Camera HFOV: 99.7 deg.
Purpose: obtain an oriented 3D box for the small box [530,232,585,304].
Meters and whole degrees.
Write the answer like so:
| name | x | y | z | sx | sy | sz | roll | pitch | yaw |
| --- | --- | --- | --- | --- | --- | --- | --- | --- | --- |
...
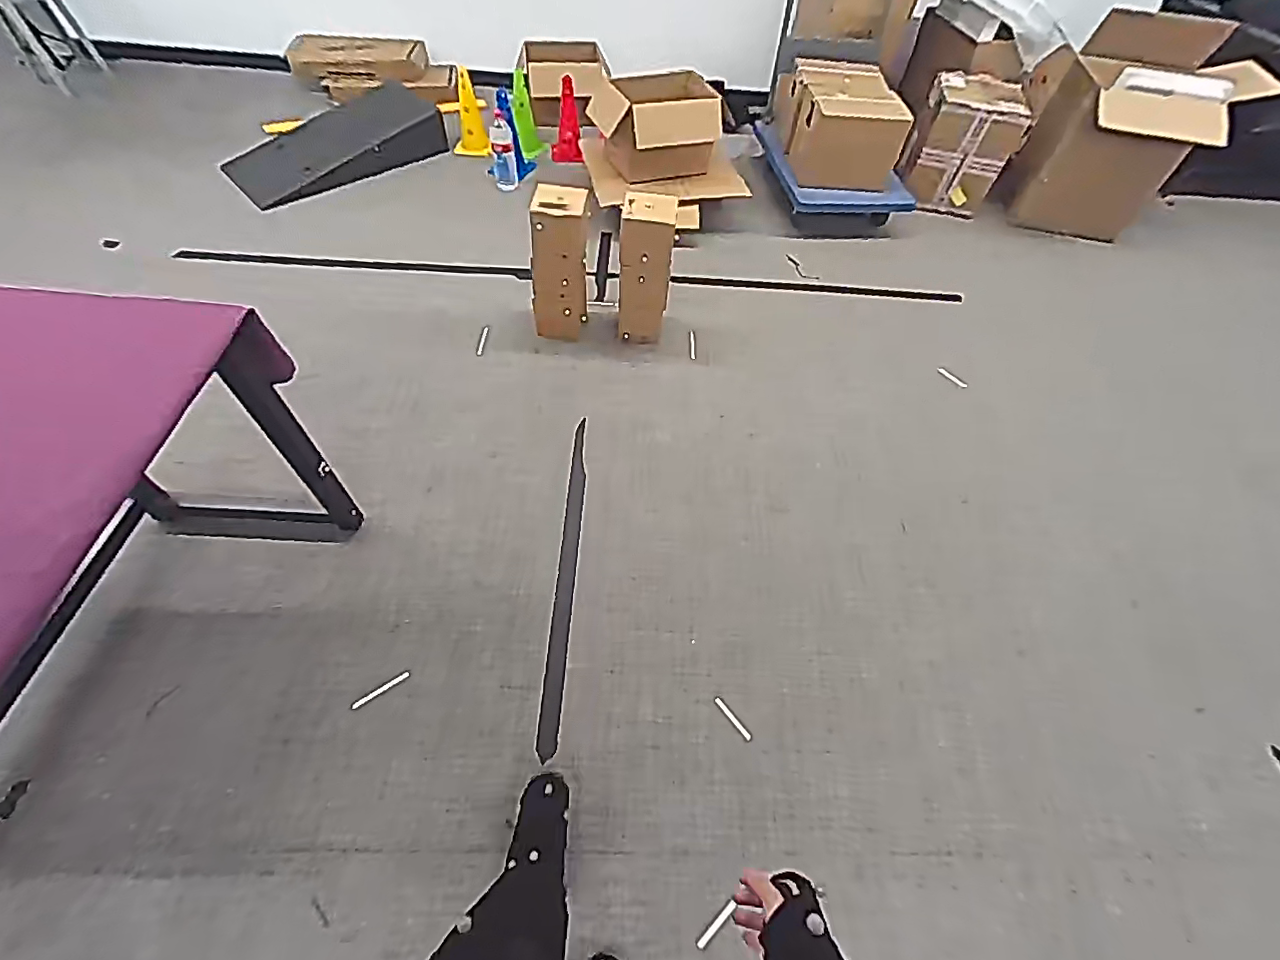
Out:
| name | x | y | z | sx | sy | sz | roll | pitch | yaw |
| --- | --- | --- | --- | --- | --- | --- | --- | --- | --- |
| small box | -0.287 | -0.750 | 1.925 | 0.168 | 0.176 | 0.179 | 7 | 53 | -2 |

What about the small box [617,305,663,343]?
| name | x | y | z | sx | sy | sz | roll | pitch | yaw |
| --- | --- | --- | --- | --- | --- | --- | --- | --- | --- |
| small box | 0.000 | -0.646 | 2.074 | 0.168 | 0.176 | 0.179 | 3 | 54 | -4 |

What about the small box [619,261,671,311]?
| name | x | y | z | sx | sy | sz | roll | pitch | yaw |
| --- | --- | --- | --- | --- | --- | --- | --- | --- | --- |
| small box | 0.016 | -0.725 | 1.930 | 0.179 | 0.176 | 0.168 | 5 | 56 | -2 |

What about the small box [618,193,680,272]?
| name | x | y | z | sx | sy | sz | roll | pitch | yaw |
| --- | --- | --- | --- | --- | --- | --- | --- | --- | --- |
| small box | 0.028 | -0.817 | 1.794 | 0.179 | 0.176 | 0.168 | 8 | 55 | -1 |

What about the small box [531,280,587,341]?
| name | x | y | z | sx | sy | sz | roll | pitch | yaw |
| --- | --- | --- | --- | --- | --- | --- | --- | --- | --- |
| small box | -0.303 | -0.651 | 2.052 | 0.179 | 0.176 | 0.168 | 8 | 54 | 0 |
